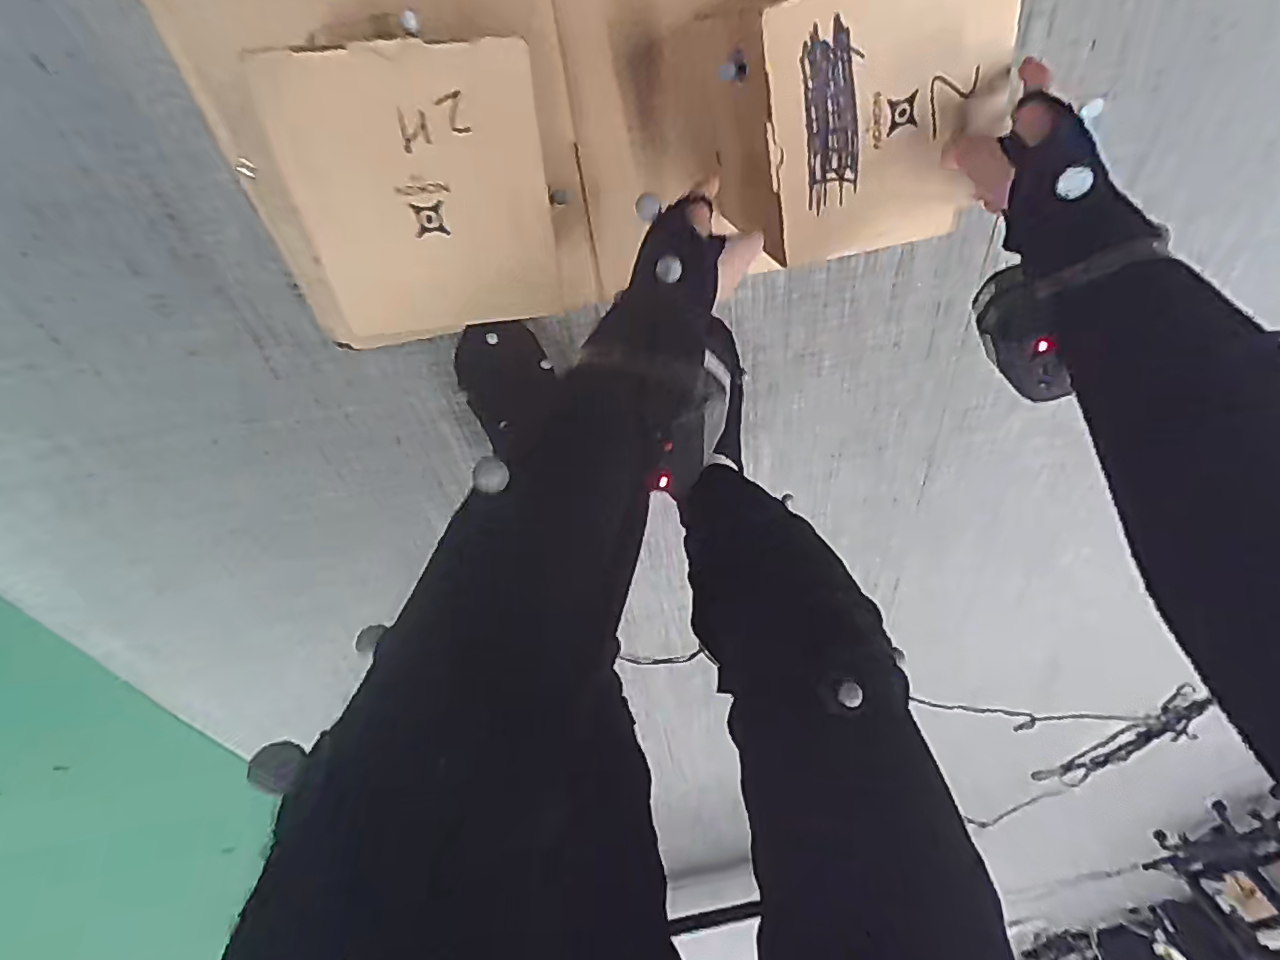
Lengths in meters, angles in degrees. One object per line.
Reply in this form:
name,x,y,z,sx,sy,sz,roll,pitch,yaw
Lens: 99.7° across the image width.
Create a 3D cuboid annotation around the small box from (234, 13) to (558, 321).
small box,-0.159,-0.249,0.426,0.168,0.176,0.179,-9,131,-6
